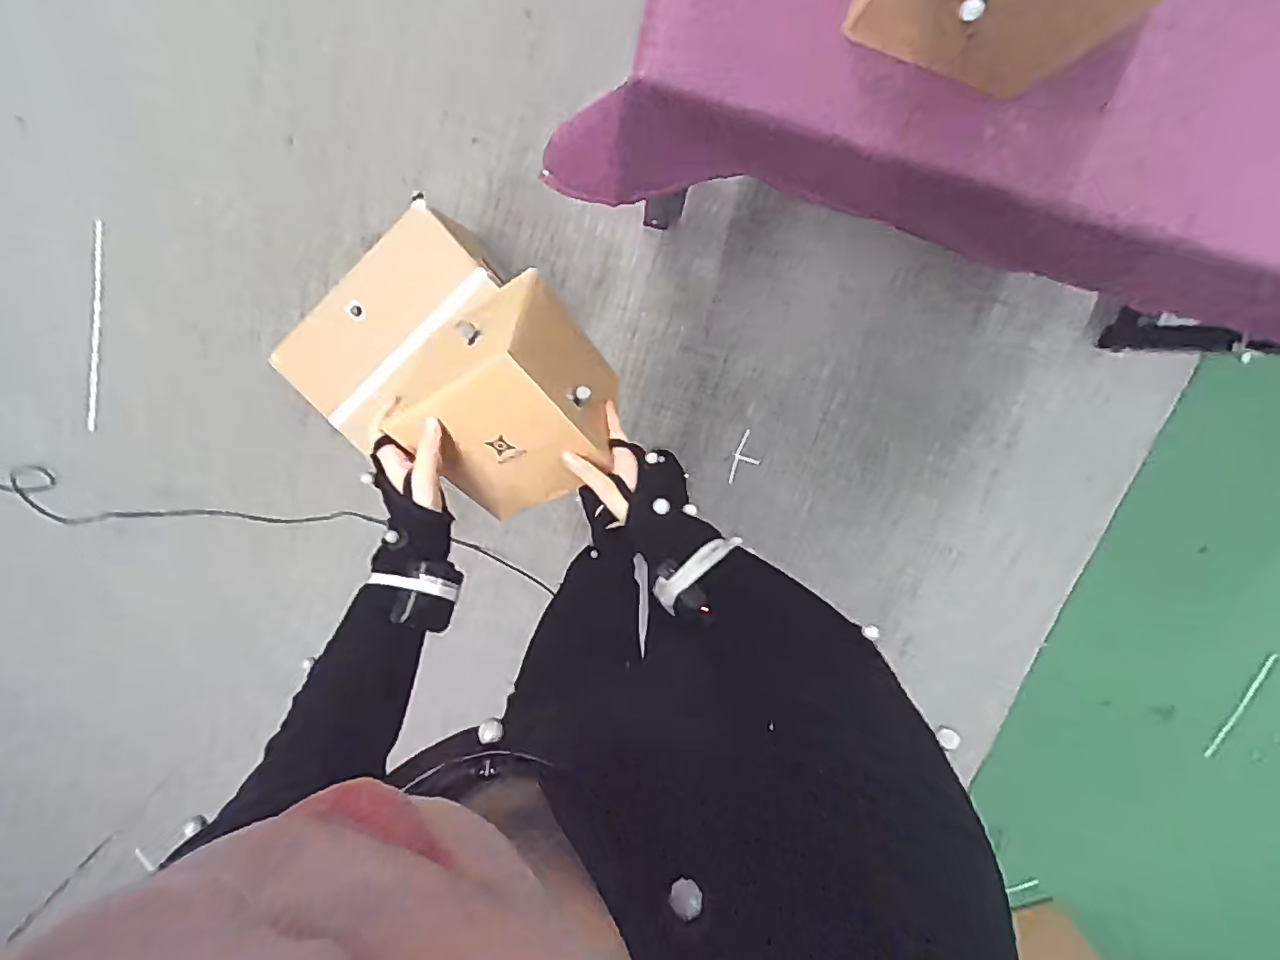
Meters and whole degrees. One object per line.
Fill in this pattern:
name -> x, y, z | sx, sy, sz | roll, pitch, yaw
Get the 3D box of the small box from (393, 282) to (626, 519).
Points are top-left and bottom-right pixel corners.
small box -> -0.129, -0.091, 0.599 | 0.168, 0.176, 0.179 | -22, 134, 23

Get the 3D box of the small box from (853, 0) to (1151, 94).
small box -> 0.296, -0.441, 0.416 | 0.179, 0.176, 0.168 | 17, 104, -5

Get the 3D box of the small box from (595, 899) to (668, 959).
small box -> -0.024, 1.391, 1.597 | 0.179, 0.176, 0.168 | 22, 102, -7
